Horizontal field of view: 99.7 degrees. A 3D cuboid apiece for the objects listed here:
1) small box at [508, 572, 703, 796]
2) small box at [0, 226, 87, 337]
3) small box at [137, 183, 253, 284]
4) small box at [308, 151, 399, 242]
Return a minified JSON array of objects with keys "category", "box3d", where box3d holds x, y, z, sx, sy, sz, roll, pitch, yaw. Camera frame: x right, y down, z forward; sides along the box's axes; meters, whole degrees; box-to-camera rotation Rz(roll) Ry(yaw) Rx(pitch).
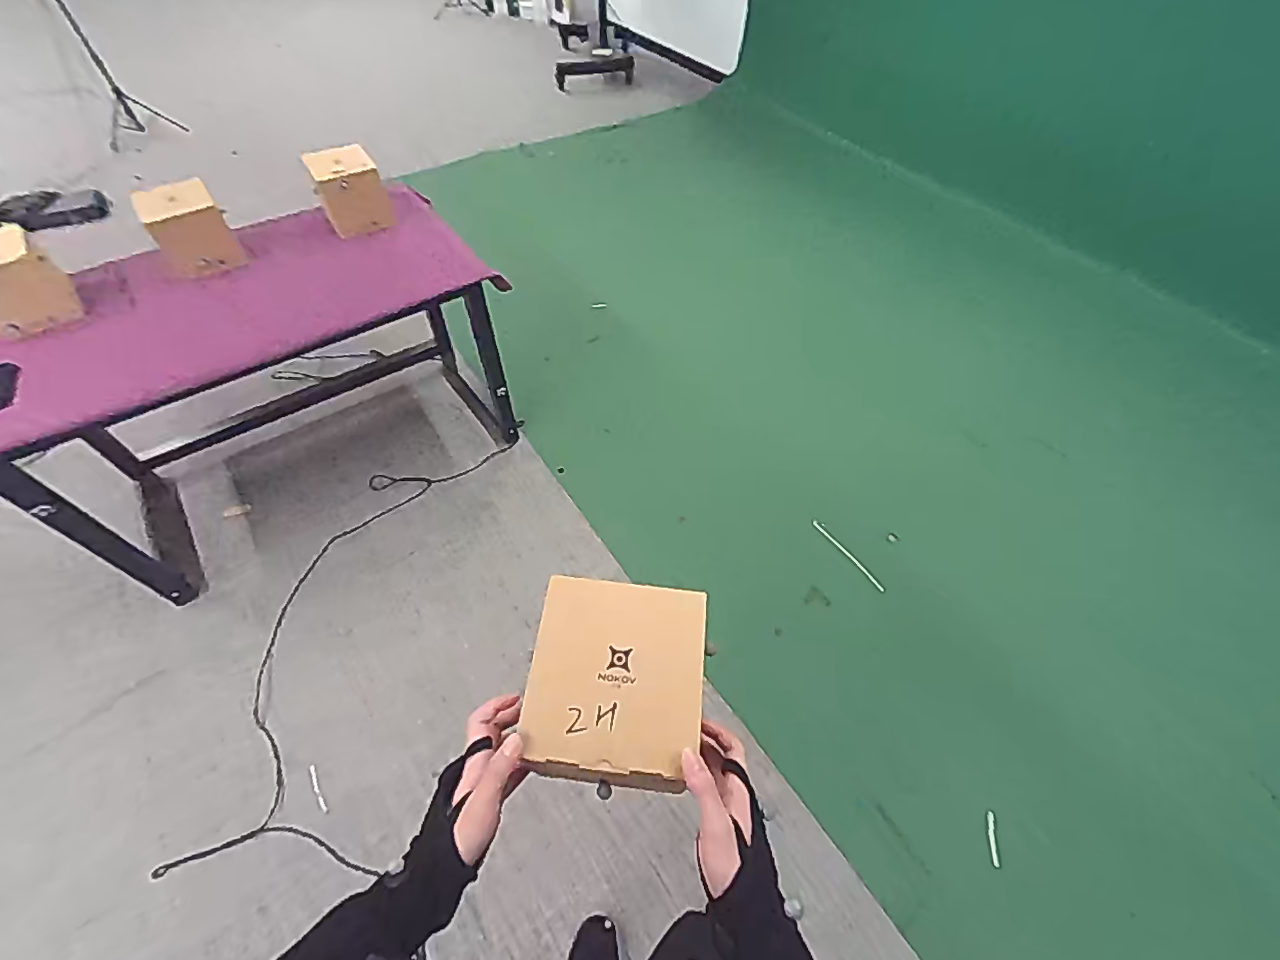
[{"category":"small box","box3d":[-0.029,0.222,0.579,0.168,0.176,0.179,7,56,2]},{"category":"small box","box3d":[-1.478,-0.464,1.284,0.168,0.176,0.179,-33,60,-24]},{"category":"small box","box3d":[-1.182,-0.658,1.445,0.168,0.176,0.179,-30,60,-21]},{"category":"small box","box3d":[-0.837,-0.829,1.587,0.168,0.176,0.179,-27,58,-20]}]
